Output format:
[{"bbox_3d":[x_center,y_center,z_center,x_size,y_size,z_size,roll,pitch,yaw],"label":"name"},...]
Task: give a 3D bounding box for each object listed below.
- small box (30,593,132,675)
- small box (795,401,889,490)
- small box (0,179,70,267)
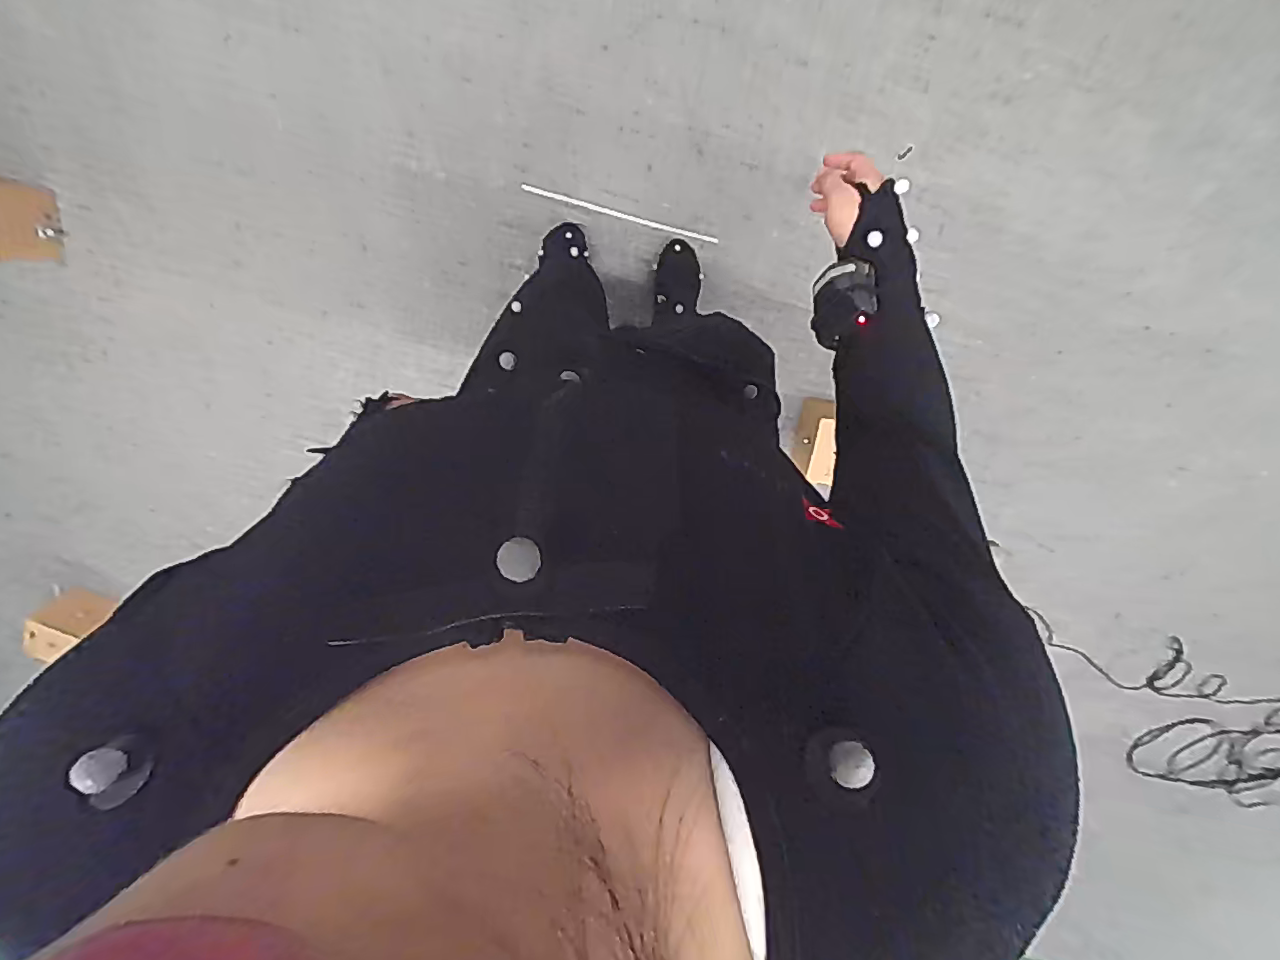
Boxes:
[{"bbox_3d":[-1.858,0.509,1.804,0.179,0.176,0.168,25,113,-9],"label":"small box"},{"bbox_3d":[0.510,-0.095,1.396,0.168,0.176,0.179,6,116,0],"label":"small box"},{"bbox_3d":[-1.531,-0.616,1.278,0.179,0.176,0.168,14,116,-5],"label":"small box"}]
